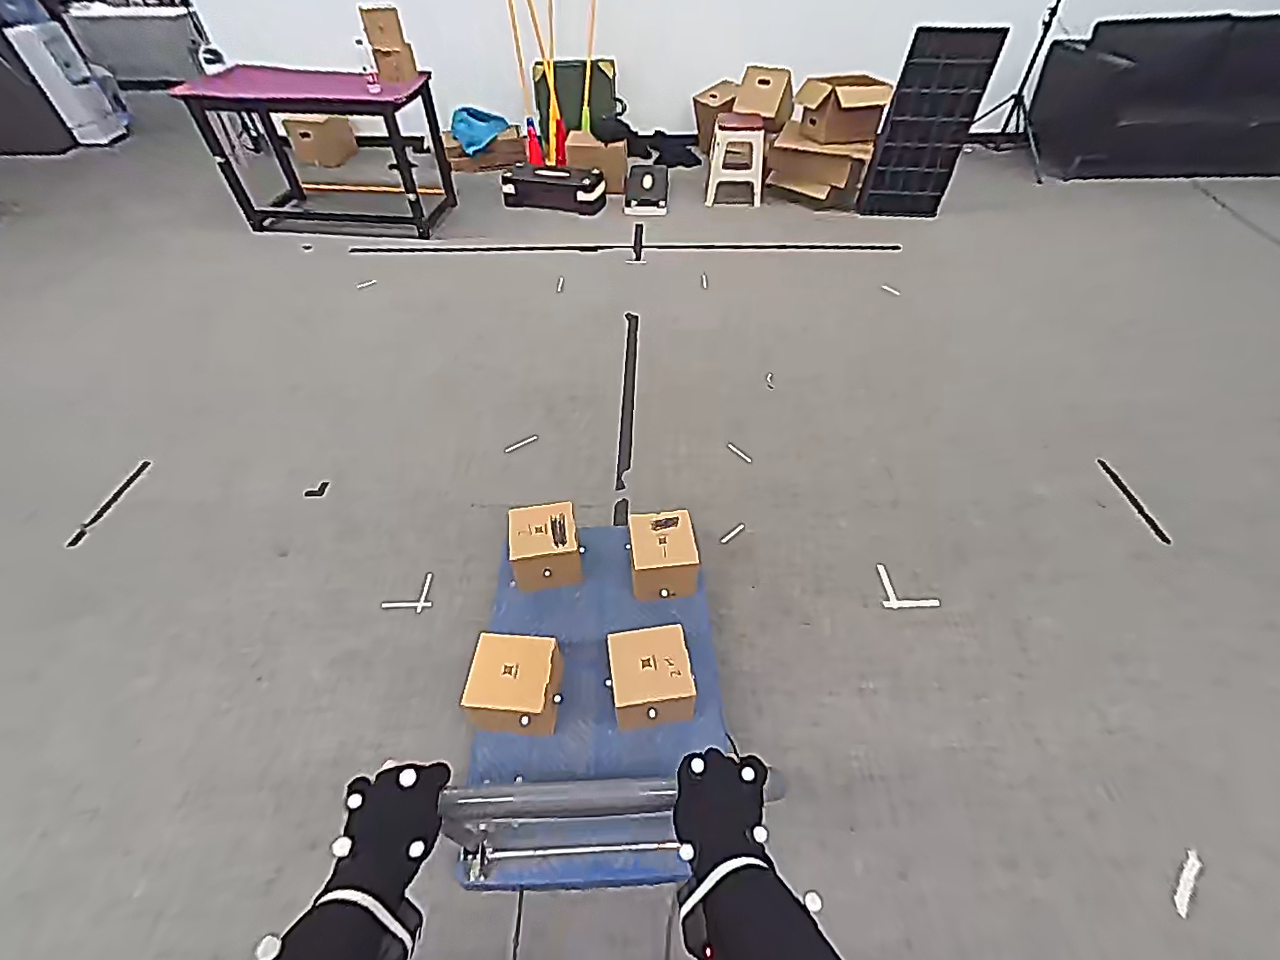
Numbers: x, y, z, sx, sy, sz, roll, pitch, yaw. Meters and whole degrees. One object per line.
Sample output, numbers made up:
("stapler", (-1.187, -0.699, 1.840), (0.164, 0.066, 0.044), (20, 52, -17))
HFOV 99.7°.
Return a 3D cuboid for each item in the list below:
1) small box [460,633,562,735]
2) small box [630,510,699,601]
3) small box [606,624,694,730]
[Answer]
("small box", (-0.283, 0.466, 1.231), (0.179, 0.176, 0.168), (4, 48, 2))
("small box", (0.059, 0.204, 1.461), (0.168, 0.176, 0.179), (-5, 49, -4))
("small box", (0.022, 0.454, 1.237), (0.179, 0.176, 0.168), (-7, 48, -5))
